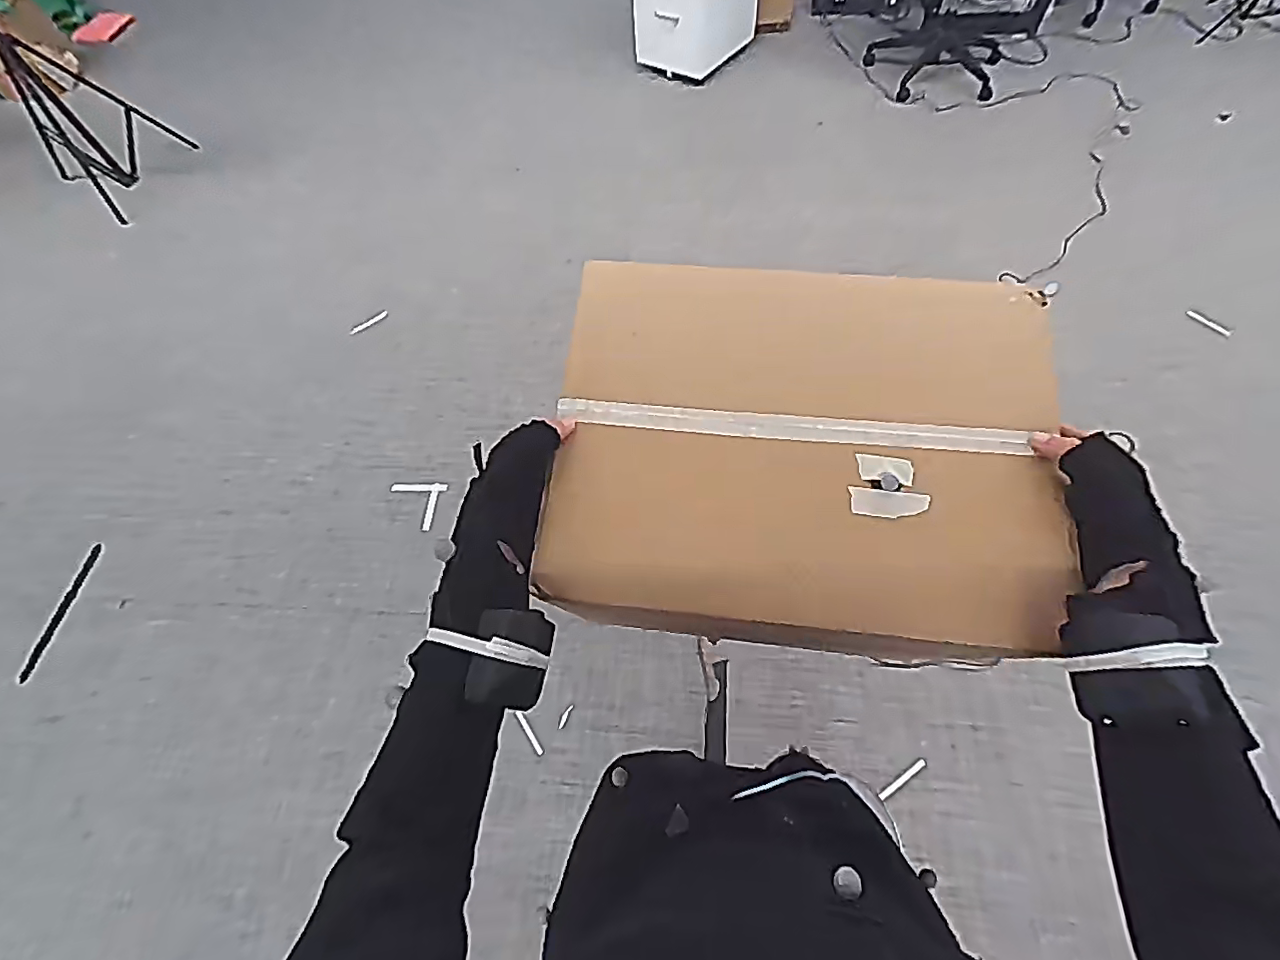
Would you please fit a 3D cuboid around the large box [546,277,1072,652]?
[{"bbox_3d":[0.140,0.011,0.595,0.408,0.320,0.320,5,73,4],"label":"large box"}]
